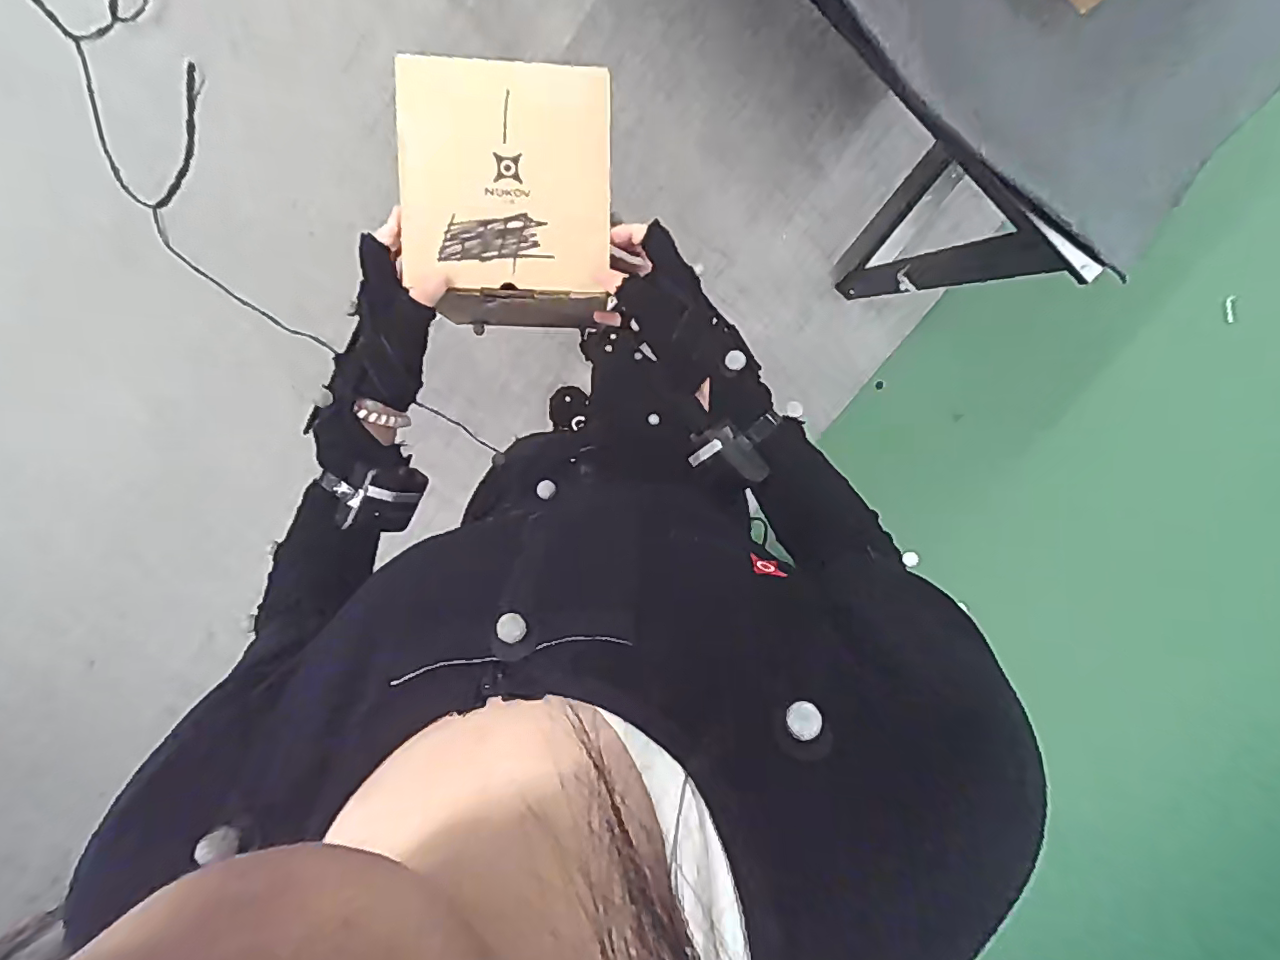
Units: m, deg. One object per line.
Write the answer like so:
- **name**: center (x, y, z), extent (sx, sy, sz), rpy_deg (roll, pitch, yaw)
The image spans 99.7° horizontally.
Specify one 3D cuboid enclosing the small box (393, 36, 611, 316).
- **small box**: center (-0.112, -0.254, 0.499), extent (0.168, 0.176, 0.179), rpy_deg (0, 96, -6)
